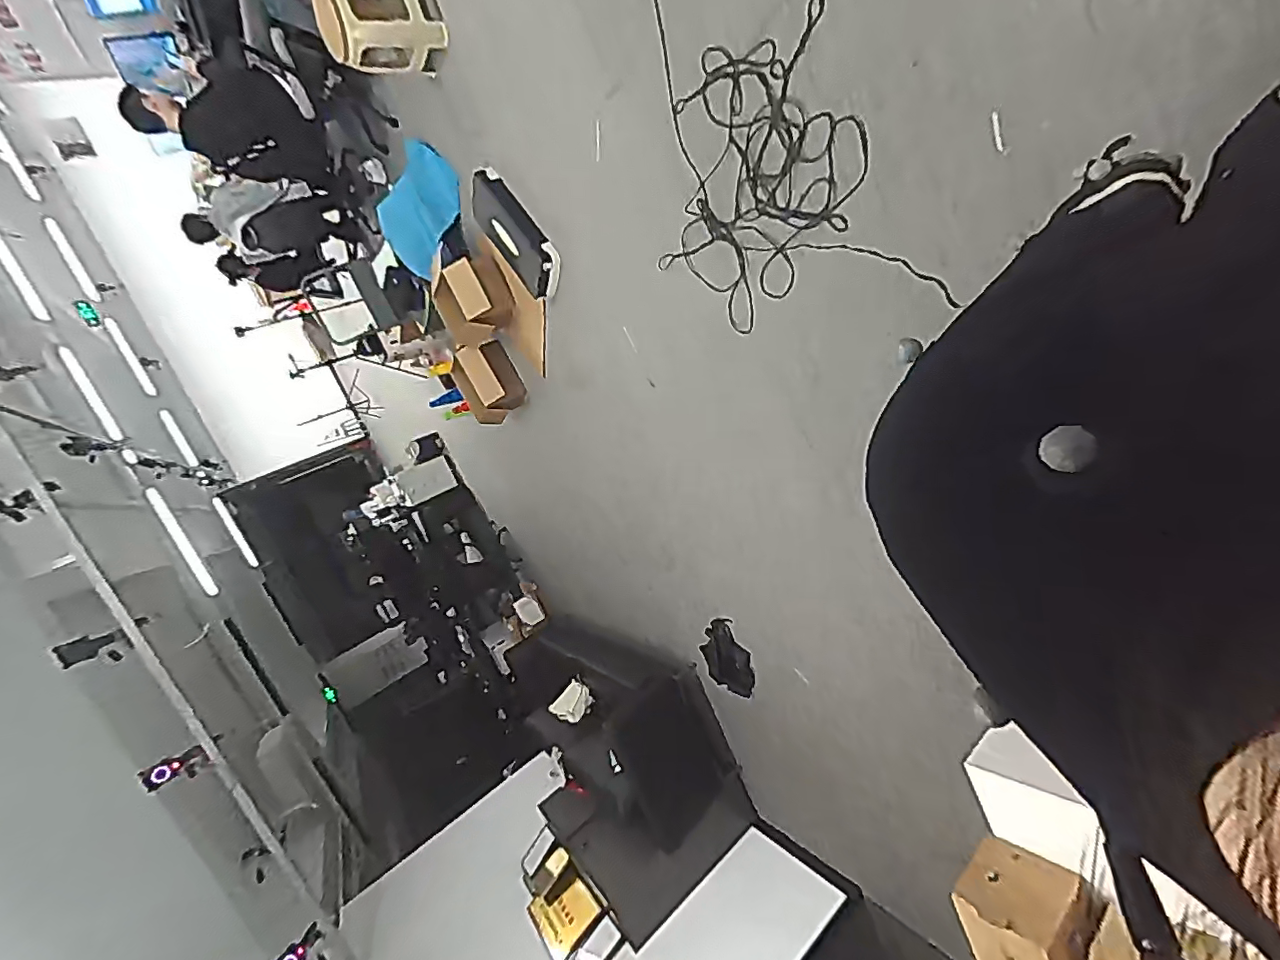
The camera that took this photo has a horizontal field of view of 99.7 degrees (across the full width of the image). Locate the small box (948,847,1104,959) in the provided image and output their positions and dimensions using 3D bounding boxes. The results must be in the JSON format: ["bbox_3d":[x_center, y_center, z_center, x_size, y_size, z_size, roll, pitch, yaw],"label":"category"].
[{"bbox_3d":[0.723,0.847,1.013,0.168,0.176,0.179,-9,108,61],"label":"small box"}]
